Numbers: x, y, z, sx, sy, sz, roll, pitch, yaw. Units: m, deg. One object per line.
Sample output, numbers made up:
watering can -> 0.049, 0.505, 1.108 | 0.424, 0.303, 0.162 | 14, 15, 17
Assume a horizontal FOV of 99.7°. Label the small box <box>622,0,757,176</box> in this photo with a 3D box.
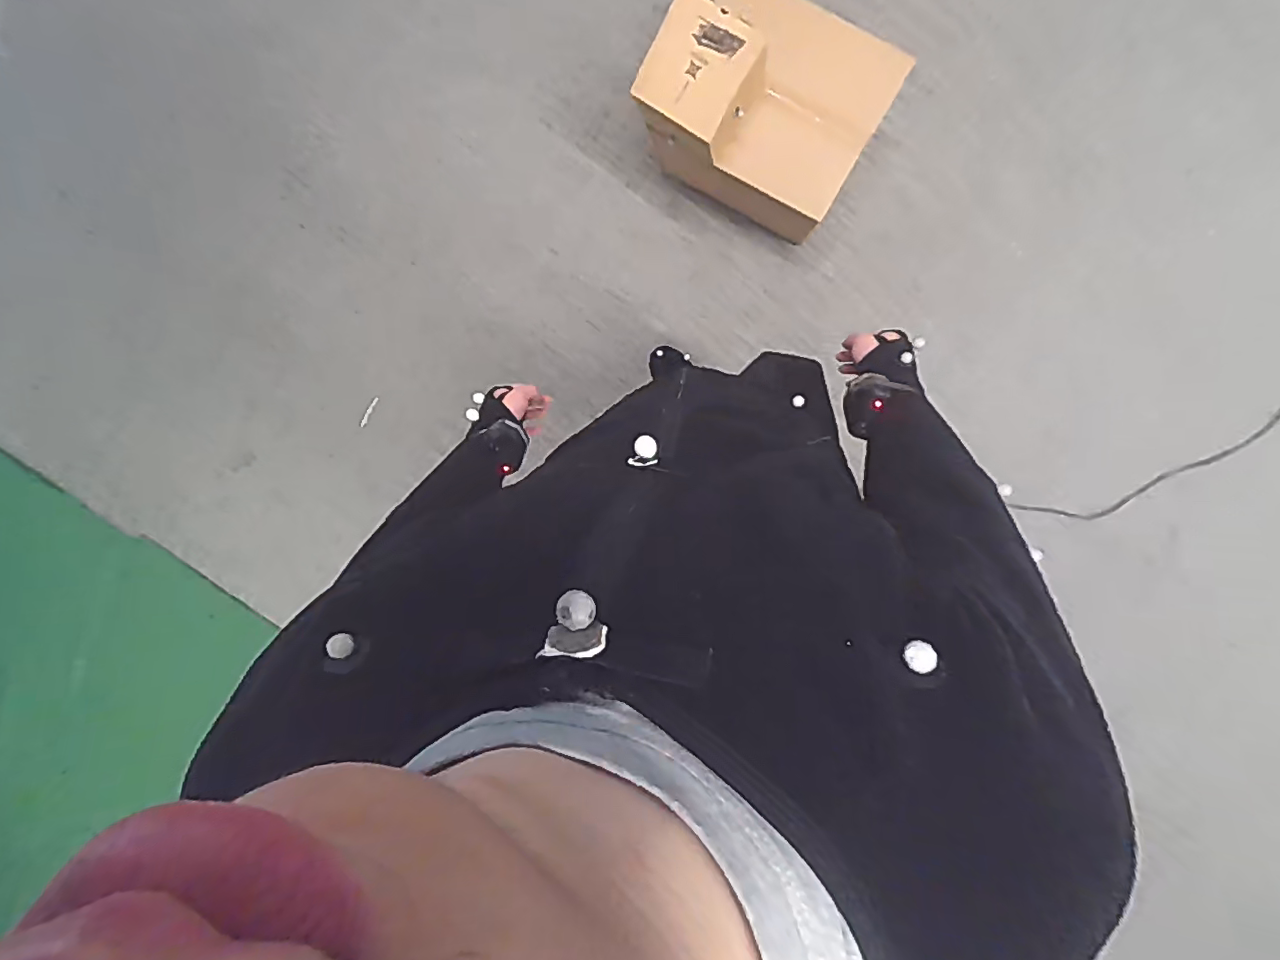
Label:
small box -> 0.090, -0.690, 0.971 | 0.168, 0.176, 0.179 | 32, 109, -1
